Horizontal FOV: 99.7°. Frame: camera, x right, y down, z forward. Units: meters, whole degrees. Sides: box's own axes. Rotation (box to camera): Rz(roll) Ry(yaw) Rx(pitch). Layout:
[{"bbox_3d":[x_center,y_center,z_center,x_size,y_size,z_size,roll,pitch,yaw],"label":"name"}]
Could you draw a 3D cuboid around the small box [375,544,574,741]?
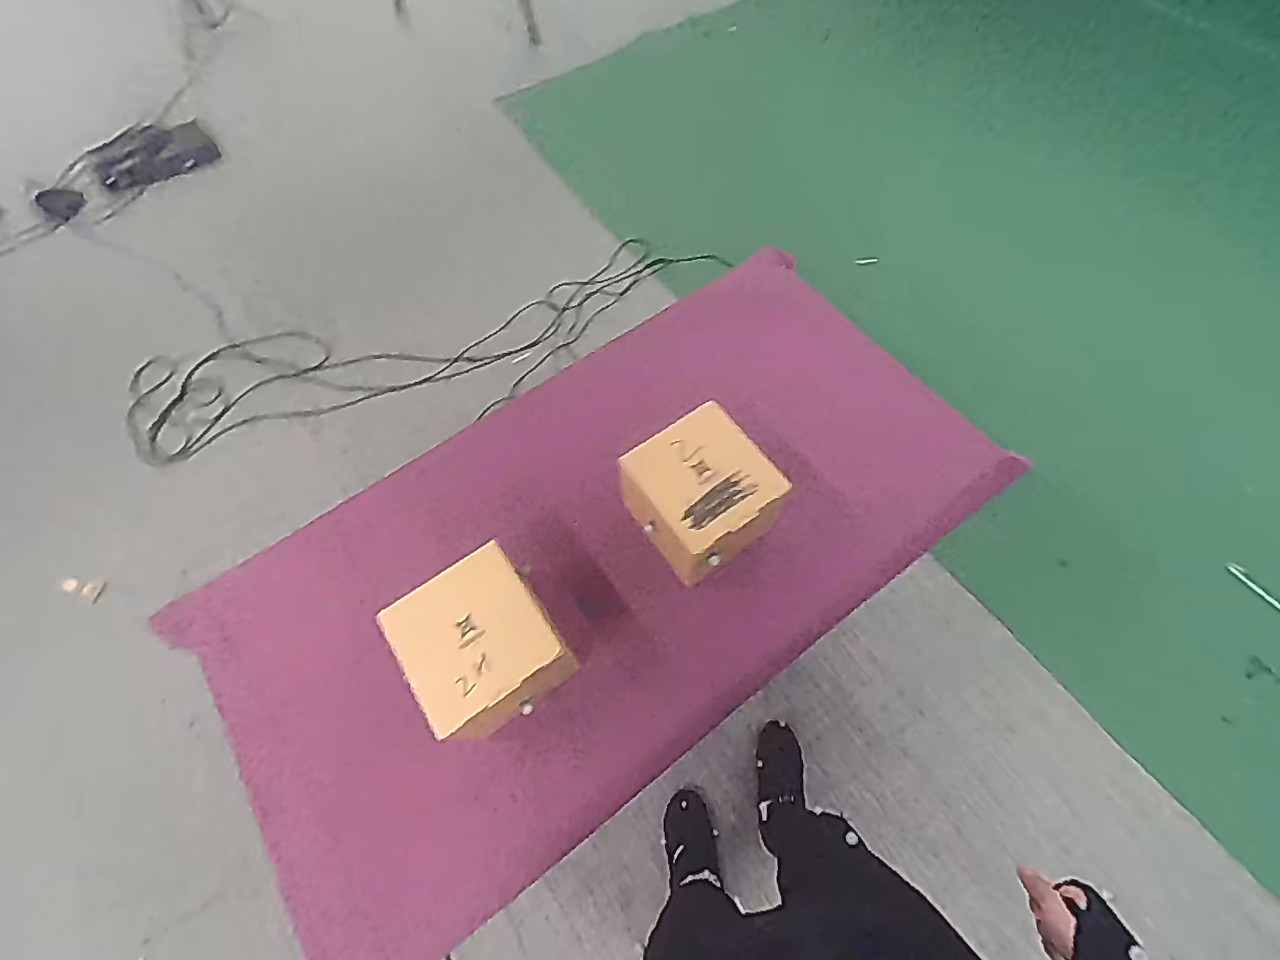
[{"bbox_3d":[-0.205,0.218,0.709,0.168,0.176,0.179,-33,68,-13],"label":"small box"}]
